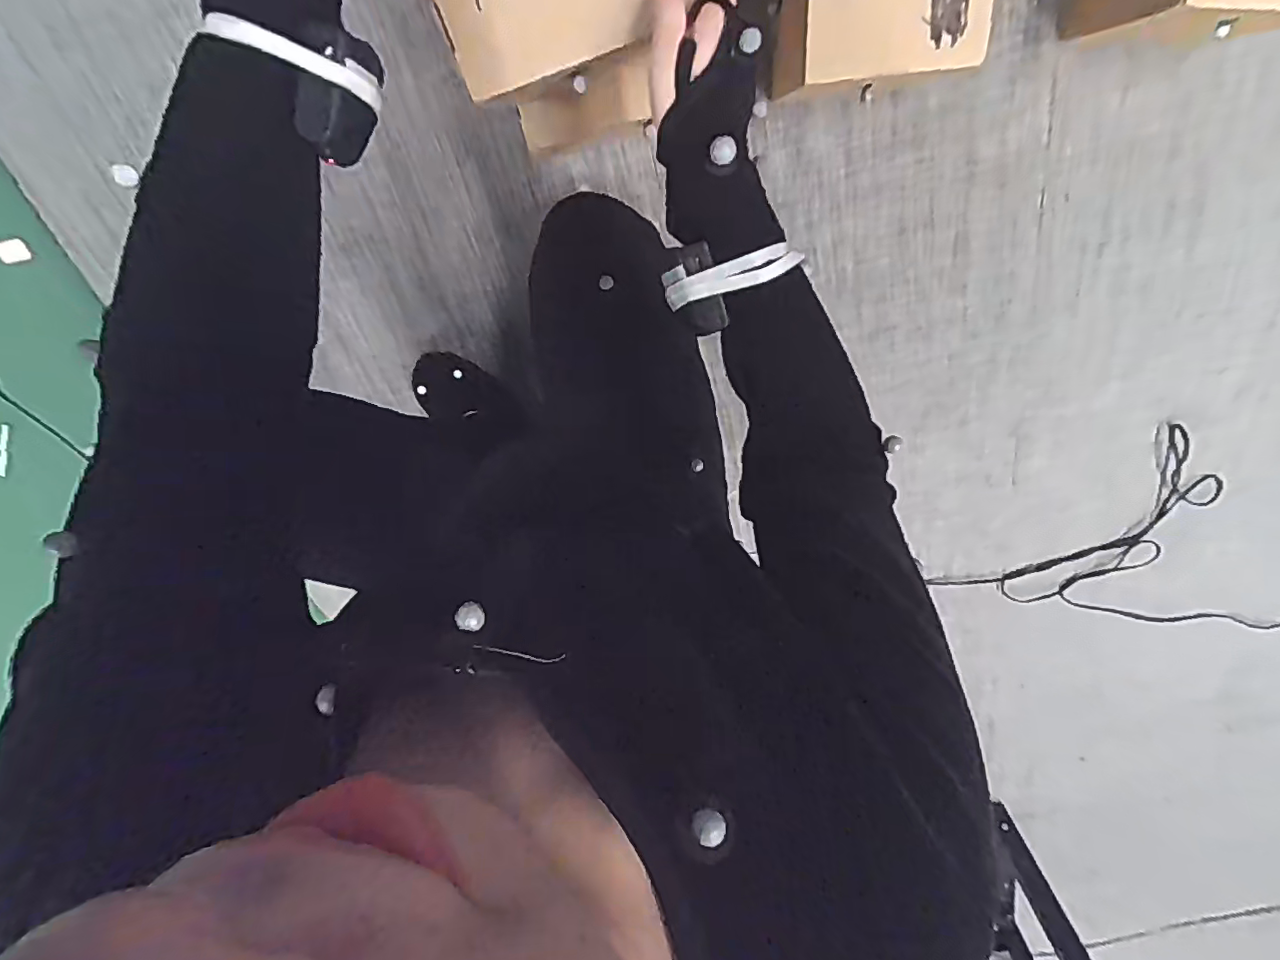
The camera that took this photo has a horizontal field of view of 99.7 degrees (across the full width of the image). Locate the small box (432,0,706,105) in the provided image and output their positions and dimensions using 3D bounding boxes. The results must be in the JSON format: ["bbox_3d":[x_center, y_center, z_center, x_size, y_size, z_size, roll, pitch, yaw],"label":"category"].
[{"bbox_3d":[-0.058,-0.395,0.396,0.179,0.176,0.168,-13,123,9],"label":"small box"}]

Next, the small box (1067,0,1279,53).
[{"bbox_3d":[0.584,-0.540,0.533,0.179,0.176,0.168,2,121,-1],"label":"small box"}]
